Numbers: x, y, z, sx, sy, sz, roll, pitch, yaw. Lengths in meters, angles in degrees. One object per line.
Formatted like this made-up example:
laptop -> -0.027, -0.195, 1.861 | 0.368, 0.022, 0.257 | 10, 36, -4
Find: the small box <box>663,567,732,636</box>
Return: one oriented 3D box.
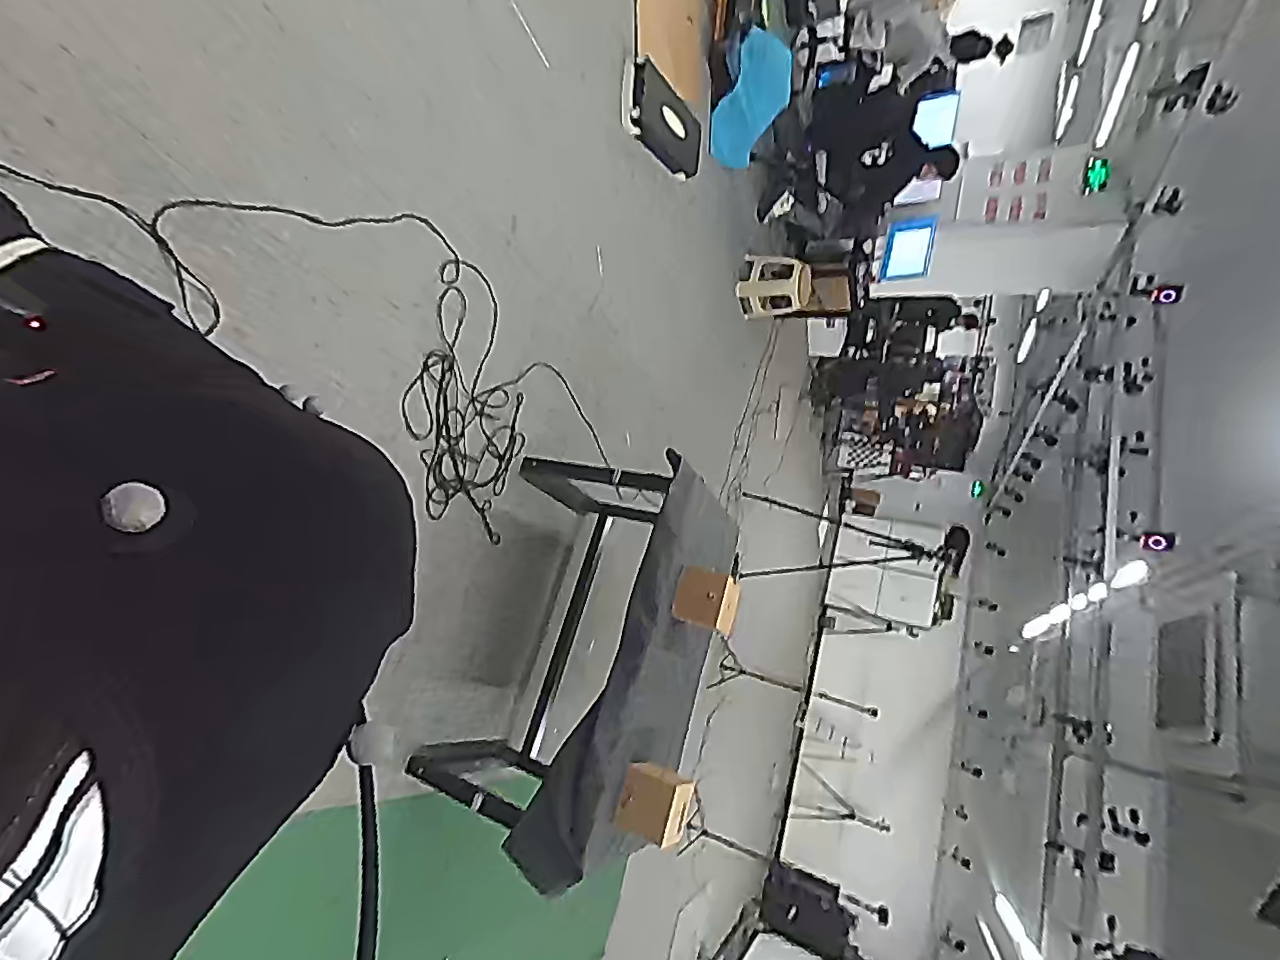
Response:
small box -> 0.193, 0.405, 1.806 | 0.168, 0.176, 0.179 | 45, 59, -57
